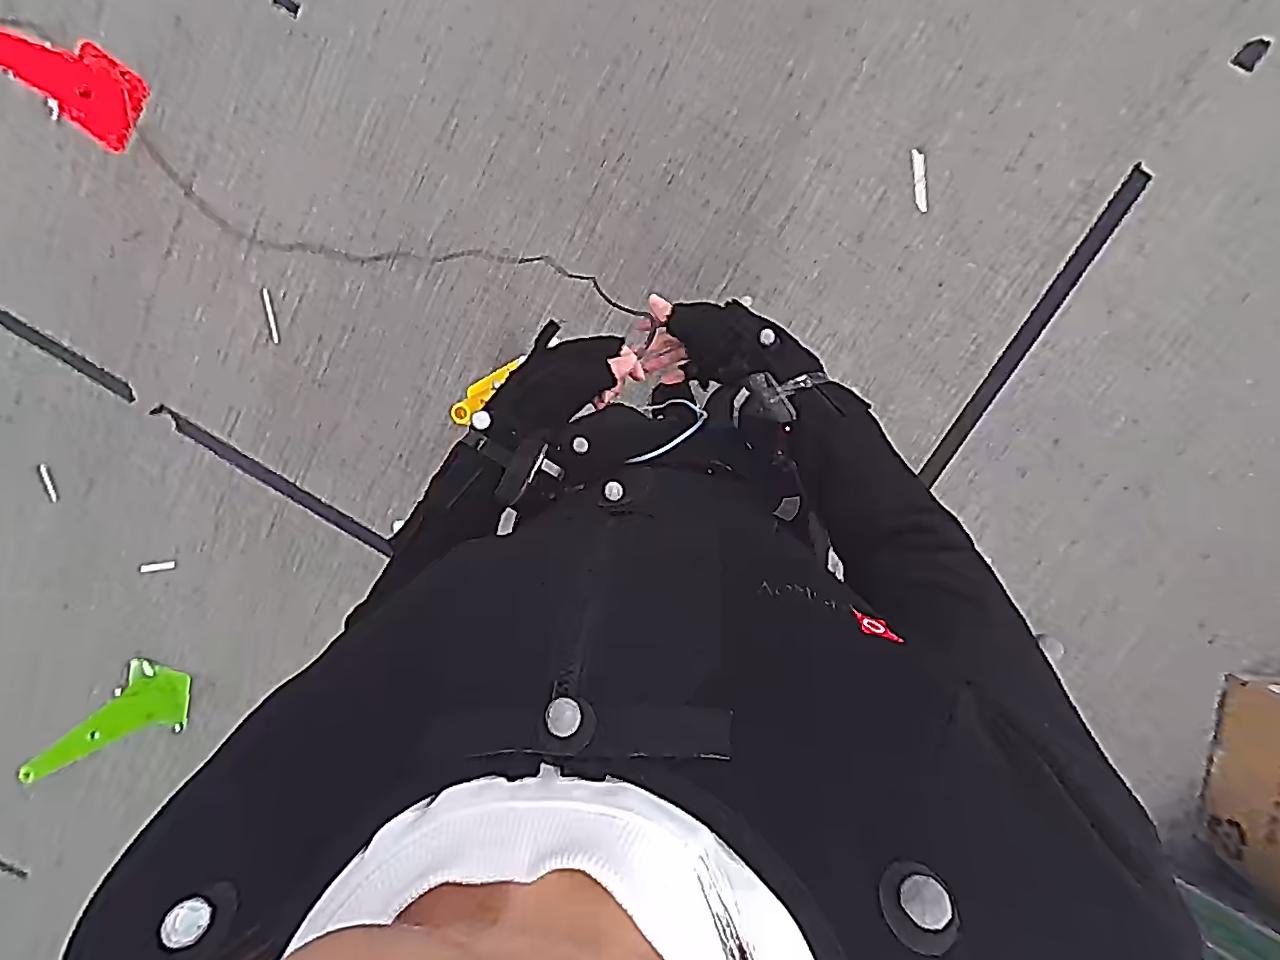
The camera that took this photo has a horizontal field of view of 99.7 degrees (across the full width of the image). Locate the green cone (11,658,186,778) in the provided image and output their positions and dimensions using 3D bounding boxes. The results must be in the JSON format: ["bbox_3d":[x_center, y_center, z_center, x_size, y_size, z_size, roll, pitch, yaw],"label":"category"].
[{"bbox_3d":[-1.541,0.699,1.534,0.202,0.368,0.200,15,101,3],"label":"green cone"}]

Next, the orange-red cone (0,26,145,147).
[{"bbox_3d":[-1.382,-0.949,1.204,0.199,0.360,0.198,38,102,-4],"label":"orange-red cone"}]
